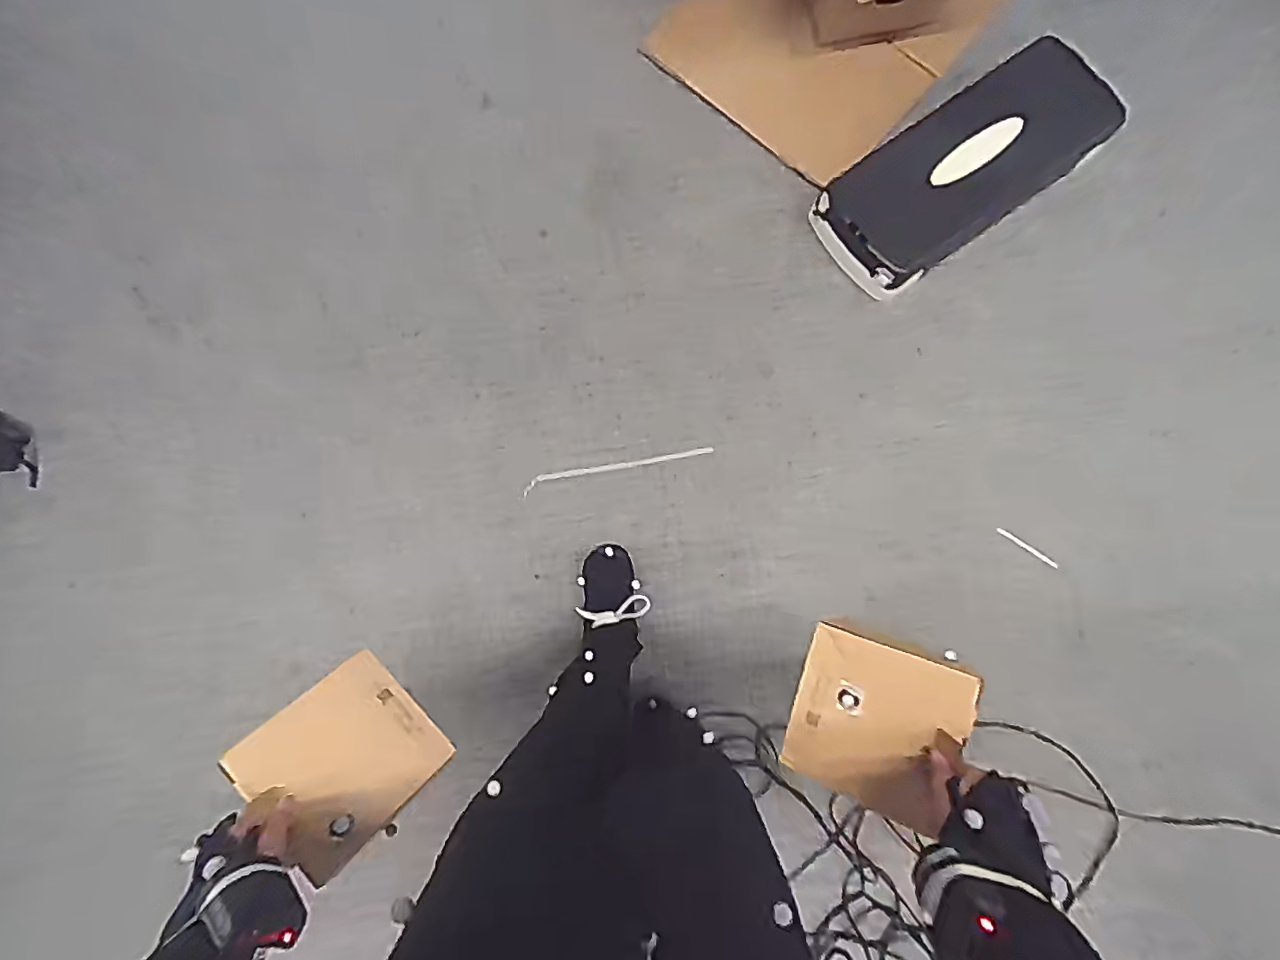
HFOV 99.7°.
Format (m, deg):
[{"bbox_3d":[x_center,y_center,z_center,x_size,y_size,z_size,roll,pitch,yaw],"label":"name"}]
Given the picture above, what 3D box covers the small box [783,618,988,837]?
[{"bbox_3d":[0.288,0.270,0.642,0.176,0.179,0.168,15,85,30],"label":"small box"}]
